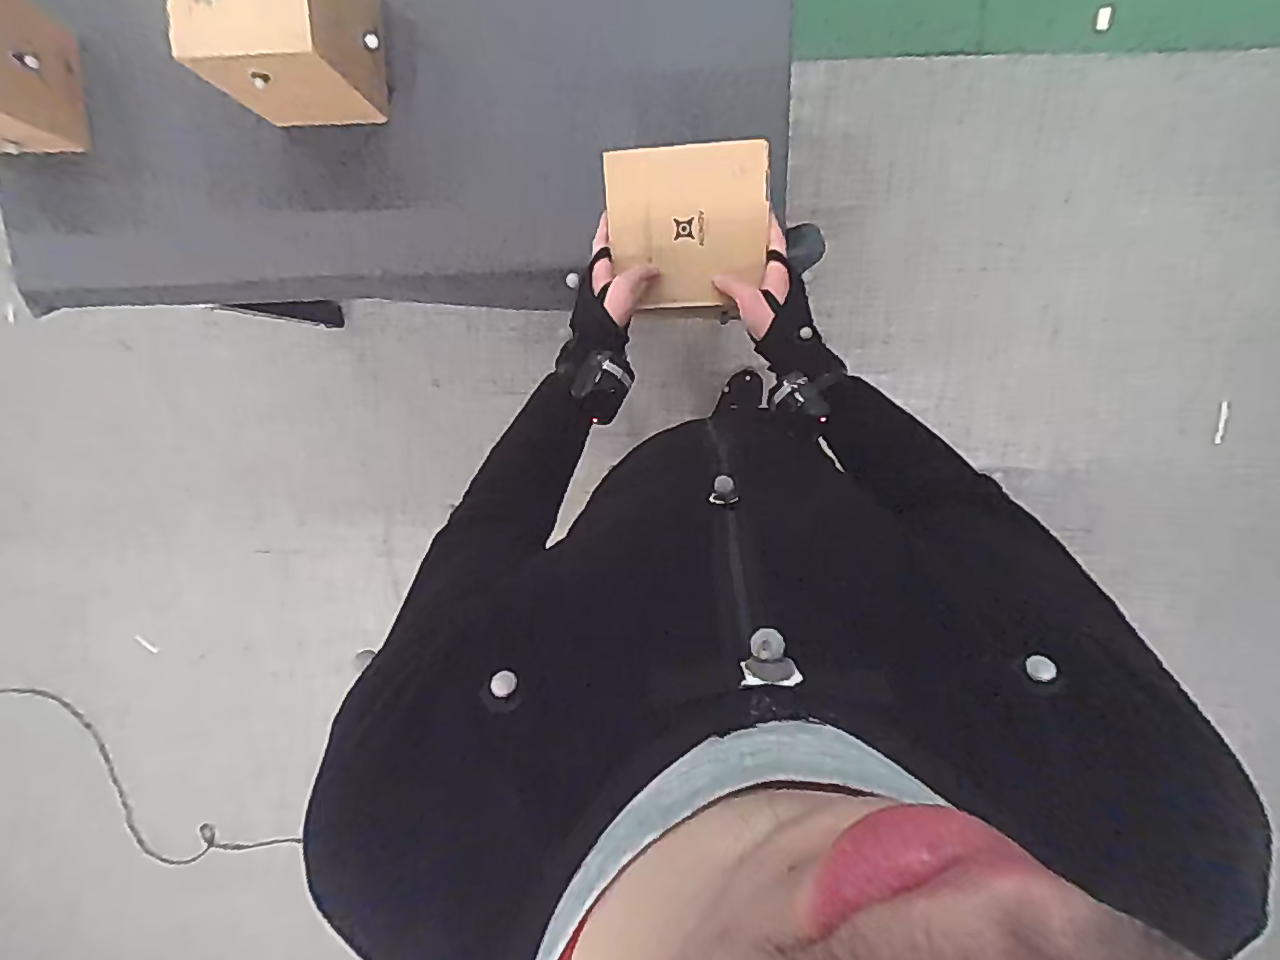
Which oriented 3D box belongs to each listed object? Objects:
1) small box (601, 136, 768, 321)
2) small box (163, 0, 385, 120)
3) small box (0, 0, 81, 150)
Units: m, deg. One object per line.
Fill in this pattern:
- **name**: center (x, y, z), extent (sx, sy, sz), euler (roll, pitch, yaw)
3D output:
- **small box**: center (0.055, -0.289, 0.656), extent (0.179, 0.176, 0.168), euler (-3, 102, 6)
- **small box**: center (-0.455, -0.586, 0.688), extent (0.179, 0.176, 0.168), euler (1, 100, 4)
- **small box**: center (-0.921, -0.572, 0.733), extent (0.179, 0.176, 0.168), euler (2, 100, 4)
